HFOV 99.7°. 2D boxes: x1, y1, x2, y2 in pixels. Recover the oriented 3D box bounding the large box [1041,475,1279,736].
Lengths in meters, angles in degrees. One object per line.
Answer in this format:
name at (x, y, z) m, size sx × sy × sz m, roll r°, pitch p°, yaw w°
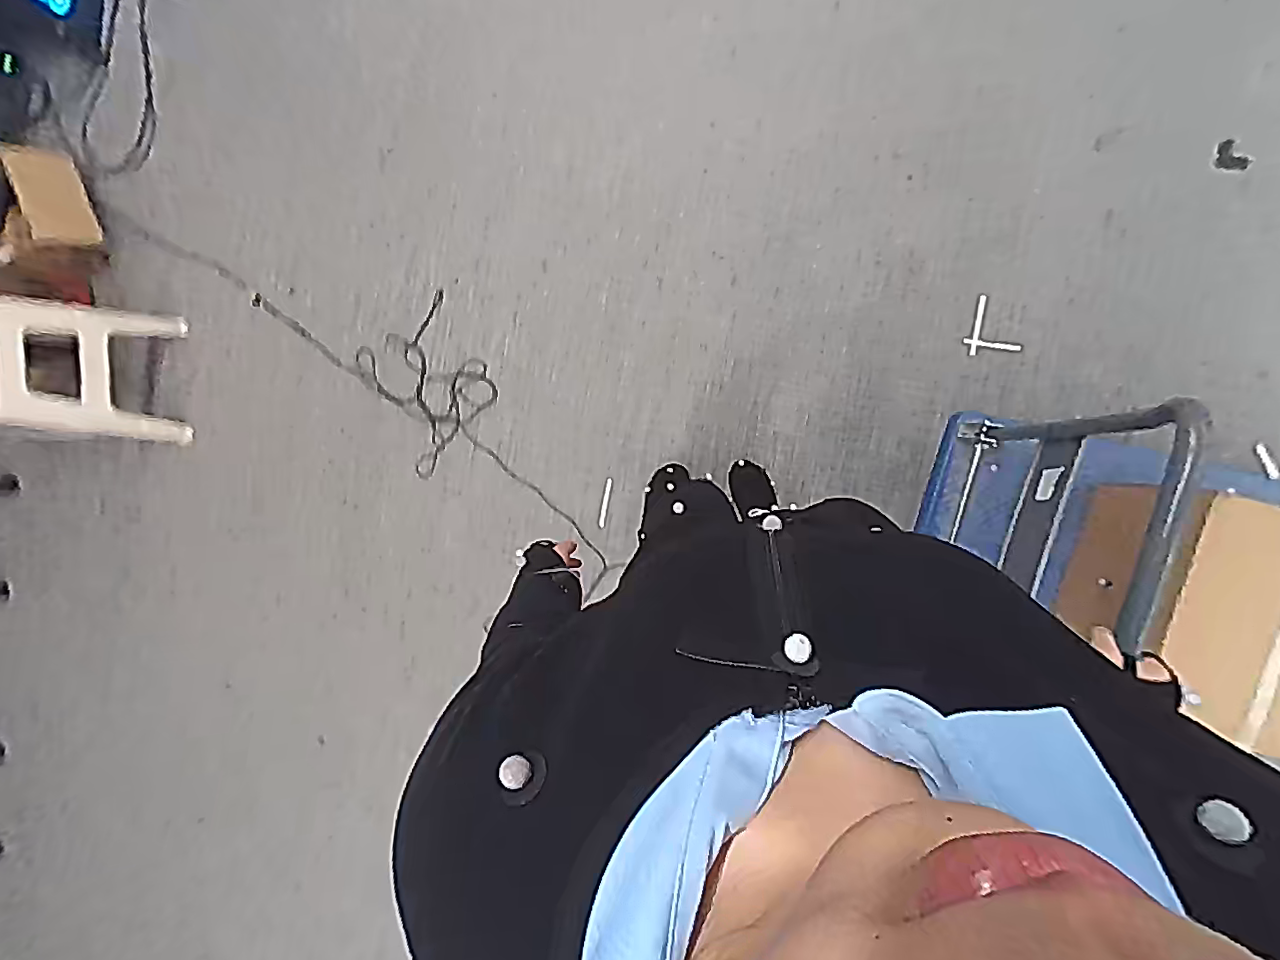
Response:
large box at (1.074, 0.220, 1.053) m, size 0.320 × 0.320 × 0.408 m, roll 15°, pitch 93°, yaw 8°
